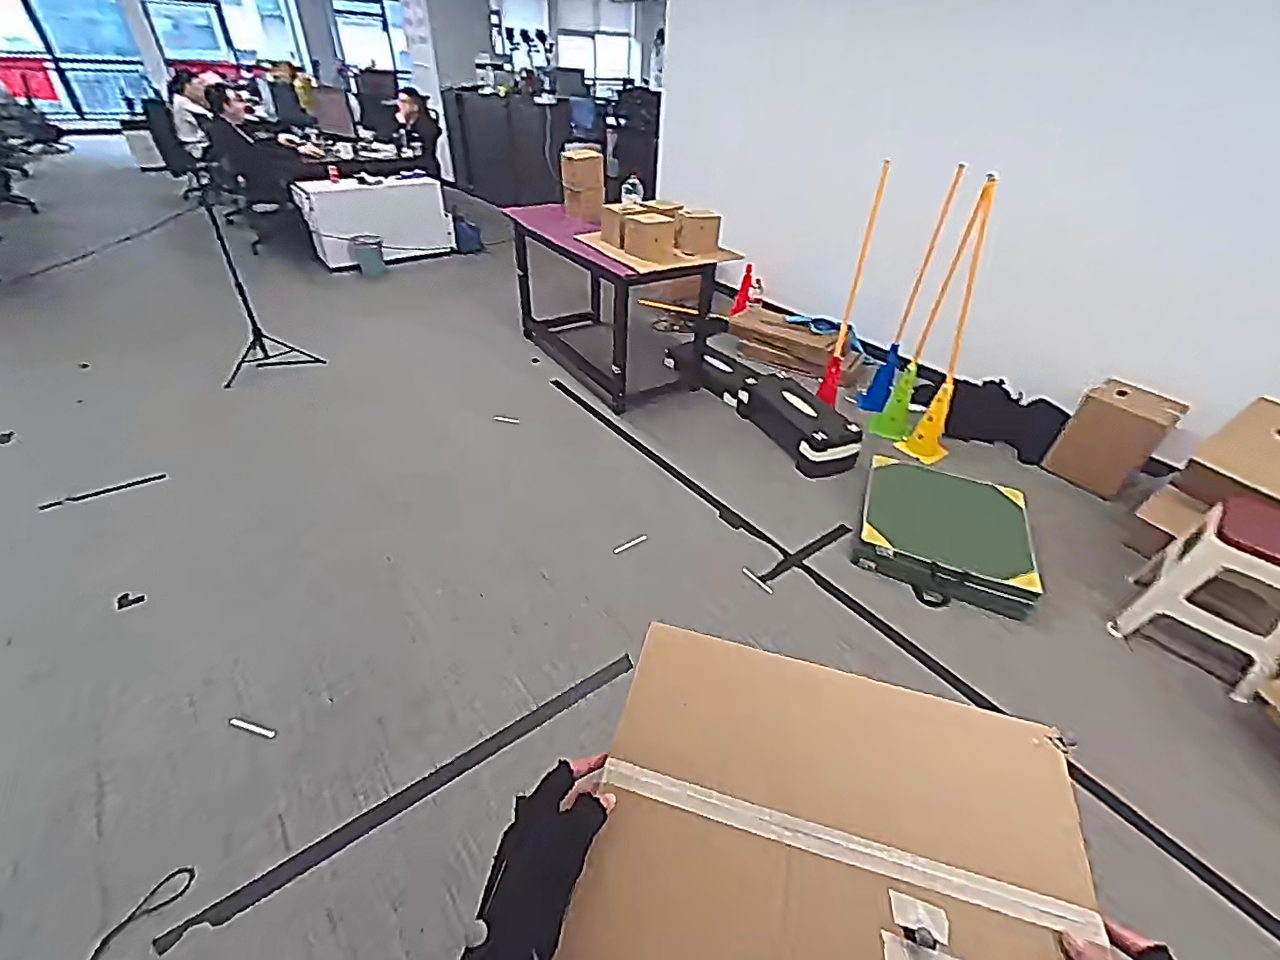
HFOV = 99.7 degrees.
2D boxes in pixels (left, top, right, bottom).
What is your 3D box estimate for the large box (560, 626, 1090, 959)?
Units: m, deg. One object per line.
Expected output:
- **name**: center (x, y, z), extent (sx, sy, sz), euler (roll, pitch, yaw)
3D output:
- **large box**: center (0.165, 0.410, 0.584), extent (0.408, 0.320, 0.320), euler (13, 49, 11)
